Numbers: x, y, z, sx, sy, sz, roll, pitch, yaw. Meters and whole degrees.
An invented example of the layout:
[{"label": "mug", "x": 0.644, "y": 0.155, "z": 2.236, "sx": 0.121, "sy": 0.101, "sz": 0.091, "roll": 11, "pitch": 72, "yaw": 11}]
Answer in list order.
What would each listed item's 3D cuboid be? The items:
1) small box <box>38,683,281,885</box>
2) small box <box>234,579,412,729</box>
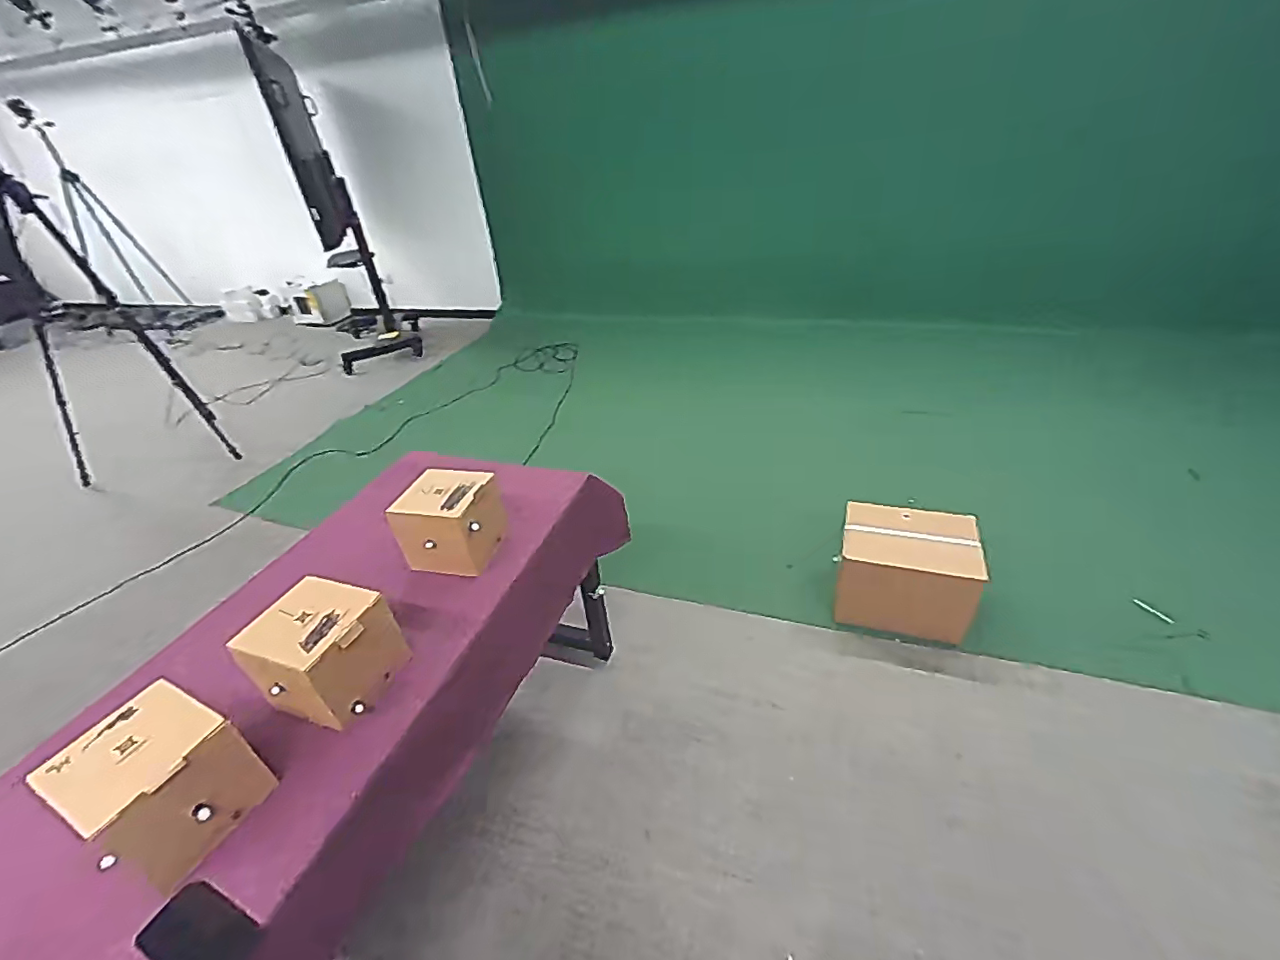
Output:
[{"label": "small box", "x": -0.663, "y": 0.431, "z": 0.768, "sx": 0.179, "sy": 0.176, "sz": 0.168, "roll": 12, "pitch": 38, "yaw": 25}, {"label": "small box", "x": -0.533, "y": 0.301, "z": 0.937, "sx": 0.179, "sy": 0.176, "sz": 0.168, "roll": 6, "pitch": 36, "yaw": 20}]
